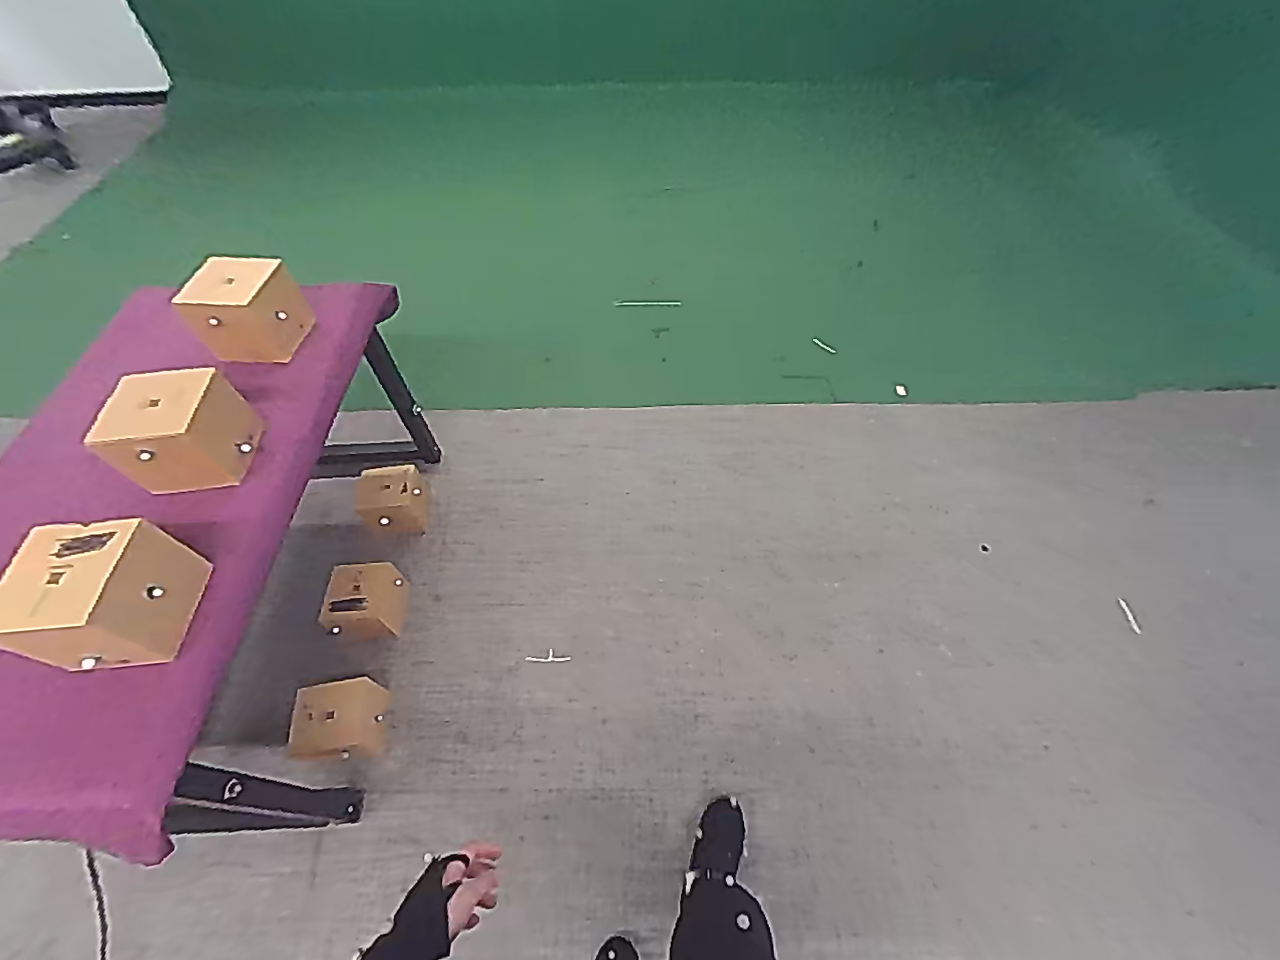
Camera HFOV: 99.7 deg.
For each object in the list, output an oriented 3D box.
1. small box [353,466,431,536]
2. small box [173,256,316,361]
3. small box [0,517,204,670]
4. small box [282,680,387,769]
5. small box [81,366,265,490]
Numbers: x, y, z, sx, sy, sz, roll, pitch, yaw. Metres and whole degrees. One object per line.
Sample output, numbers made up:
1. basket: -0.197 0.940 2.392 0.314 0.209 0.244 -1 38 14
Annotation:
1. small box: -0.821 0.075 1.804 0.179 0.176 0.168 -7 54 -3
2. small box: -0.895 -0.391 1.247 0.179 0.176 0.168 3 55 5
3. small box: -0.830 0.177 0.835 0.168 0.176 0.179 -5 55 -1
4. small box: -0.779 0.636 1.401 0.179 0.176 0.168 -8 55 -5
5. small box: -0.873 -0.094 1.034 0.179 0.176 0.168 -5 55 -2
